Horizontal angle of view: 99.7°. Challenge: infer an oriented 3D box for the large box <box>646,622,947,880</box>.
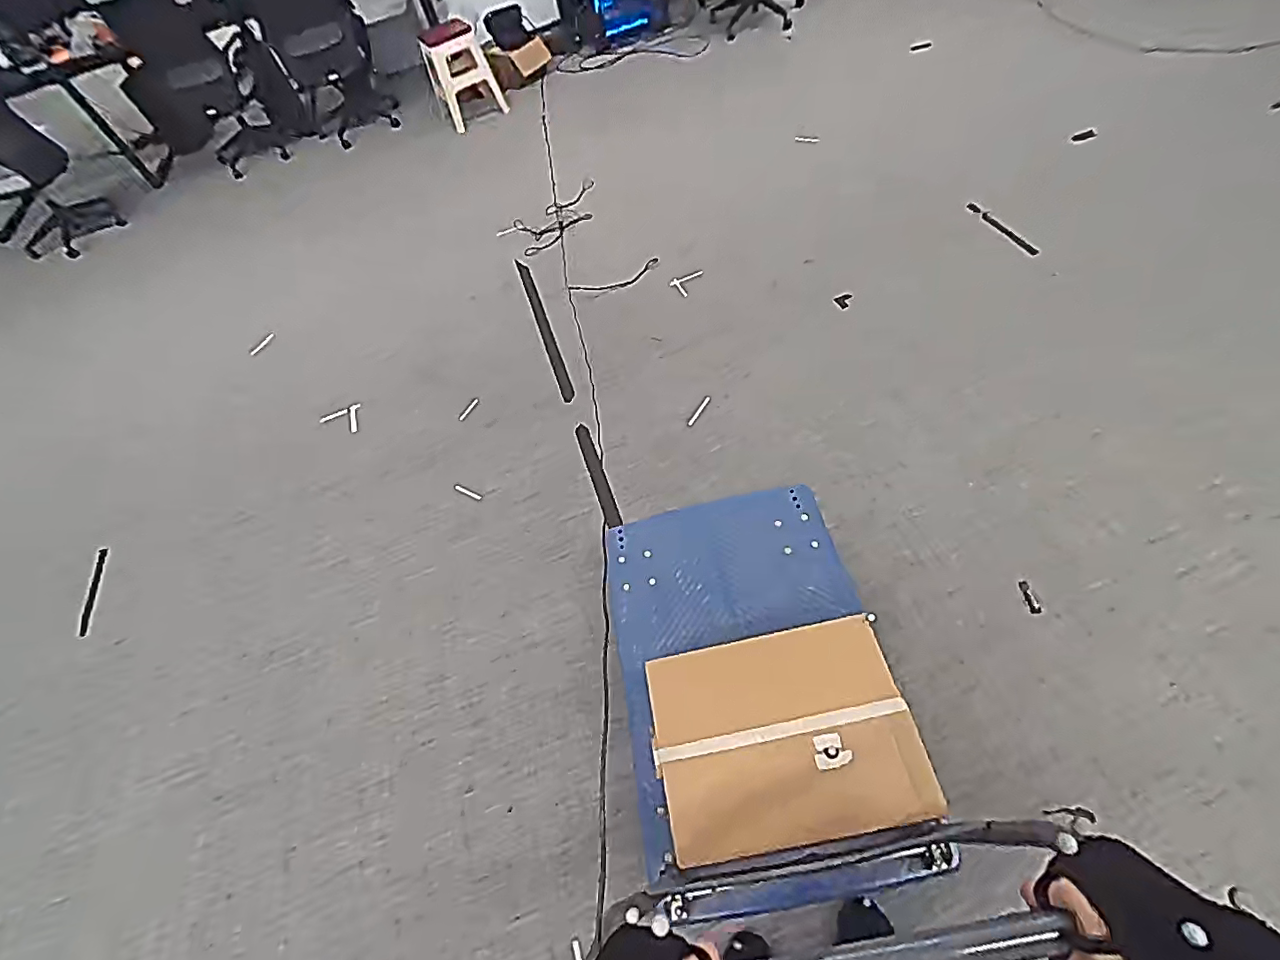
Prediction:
[{"bbox_3d":[0.251,0.501,0.988,0.408,0.320,0.320,-13,55,2],"label":"large box"}]
